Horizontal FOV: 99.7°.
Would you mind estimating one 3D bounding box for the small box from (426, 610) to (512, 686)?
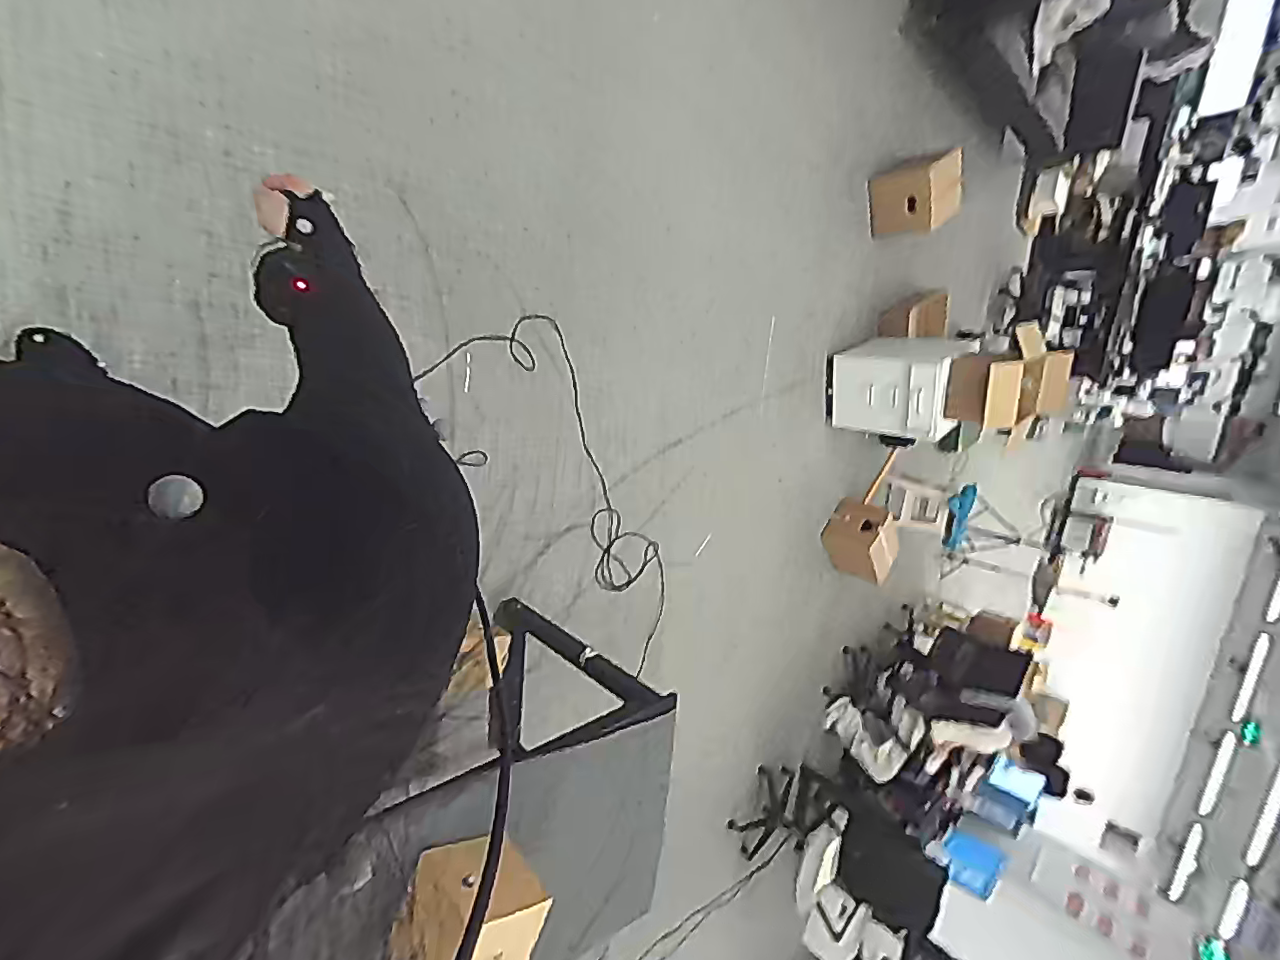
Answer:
[{"bbox_3d":[-0.529,0.510,1.670,0.179,0.176,0.168,11,93,-47],"label":"small box"}]

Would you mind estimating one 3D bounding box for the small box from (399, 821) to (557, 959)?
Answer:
[{"bbox_3d":[-0.282,0.729,0.928,0.179,0.176,0.168,23,89,-48],"label":"small box"}]
